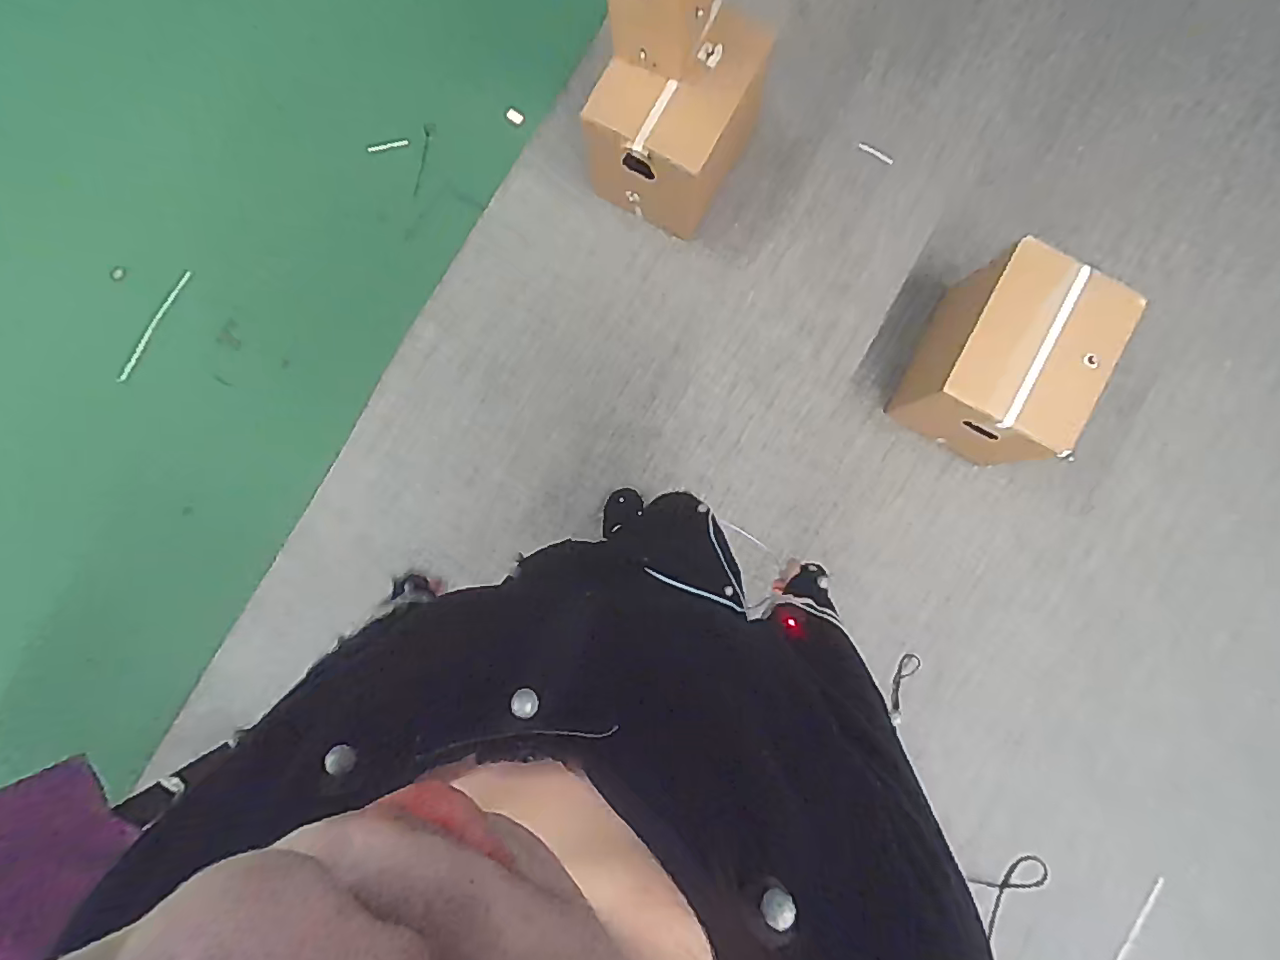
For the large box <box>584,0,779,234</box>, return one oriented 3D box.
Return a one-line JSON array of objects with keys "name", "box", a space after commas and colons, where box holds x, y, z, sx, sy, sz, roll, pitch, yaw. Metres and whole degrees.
[{"name": "large box", "box": [0.101, -0.938, 1.390, 0.320, 0.320, 0.408, 29, 88, 3]}]
